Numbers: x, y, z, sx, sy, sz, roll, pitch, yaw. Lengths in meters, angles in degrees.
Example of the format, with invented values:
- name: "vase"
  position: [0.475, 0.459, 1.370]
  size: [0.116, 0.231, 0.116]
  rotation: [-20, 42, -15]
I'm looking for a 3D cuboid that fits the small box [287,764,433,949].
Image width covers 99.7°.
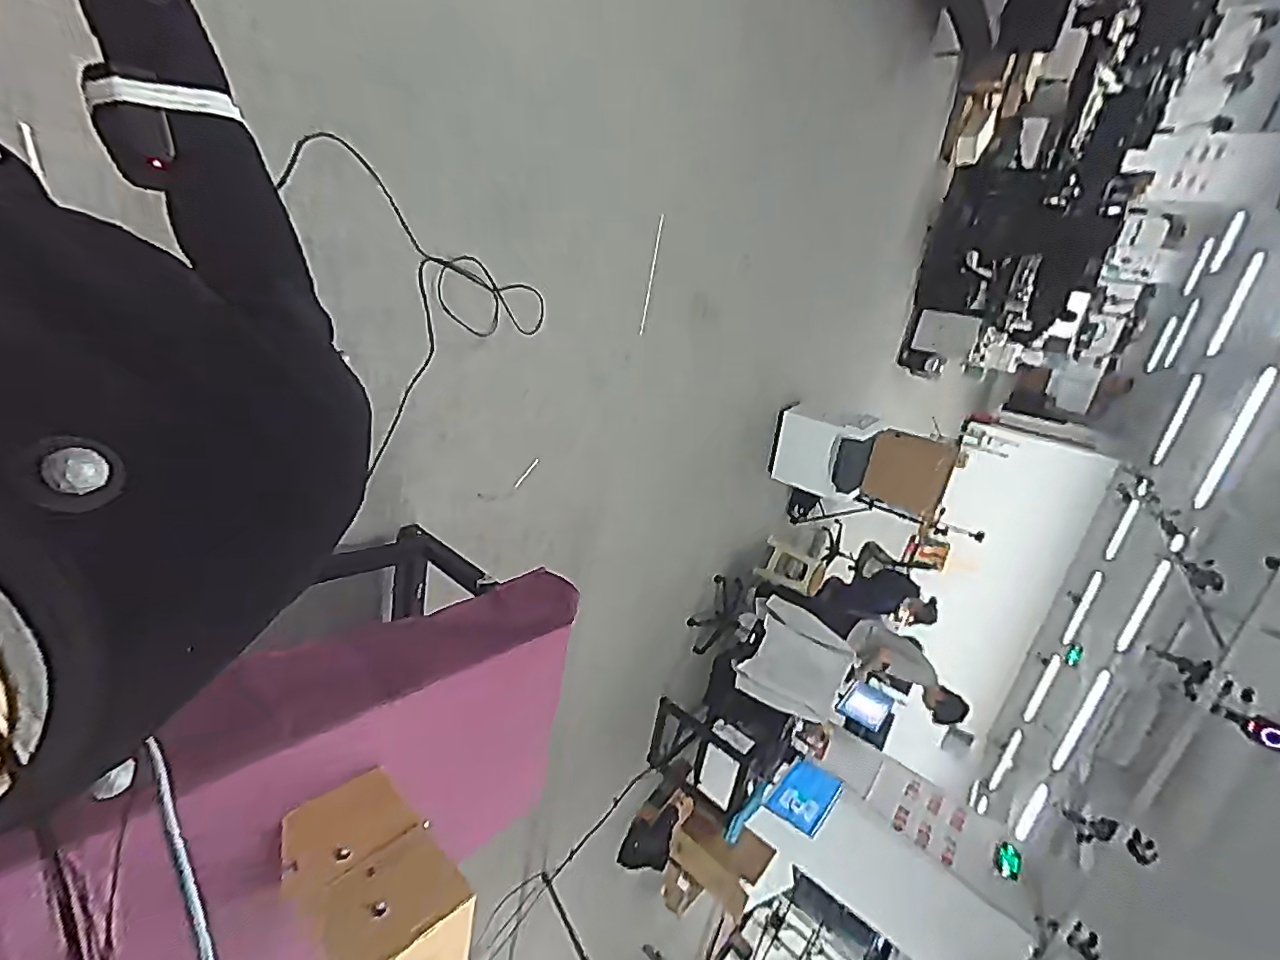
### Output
- name: "small box"
  position: [-0.503, 0.658, 0.973]
  size: [0.179, 0.176, 0.168]
  rotation: [-9, 117, -50]

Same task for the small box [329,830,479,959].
- name: "small box"
  position: [-0.385, 0.713, 0.876]
  size: [0.168, 0.176, 0.179]
  rotation: [-10, 119, -49]
